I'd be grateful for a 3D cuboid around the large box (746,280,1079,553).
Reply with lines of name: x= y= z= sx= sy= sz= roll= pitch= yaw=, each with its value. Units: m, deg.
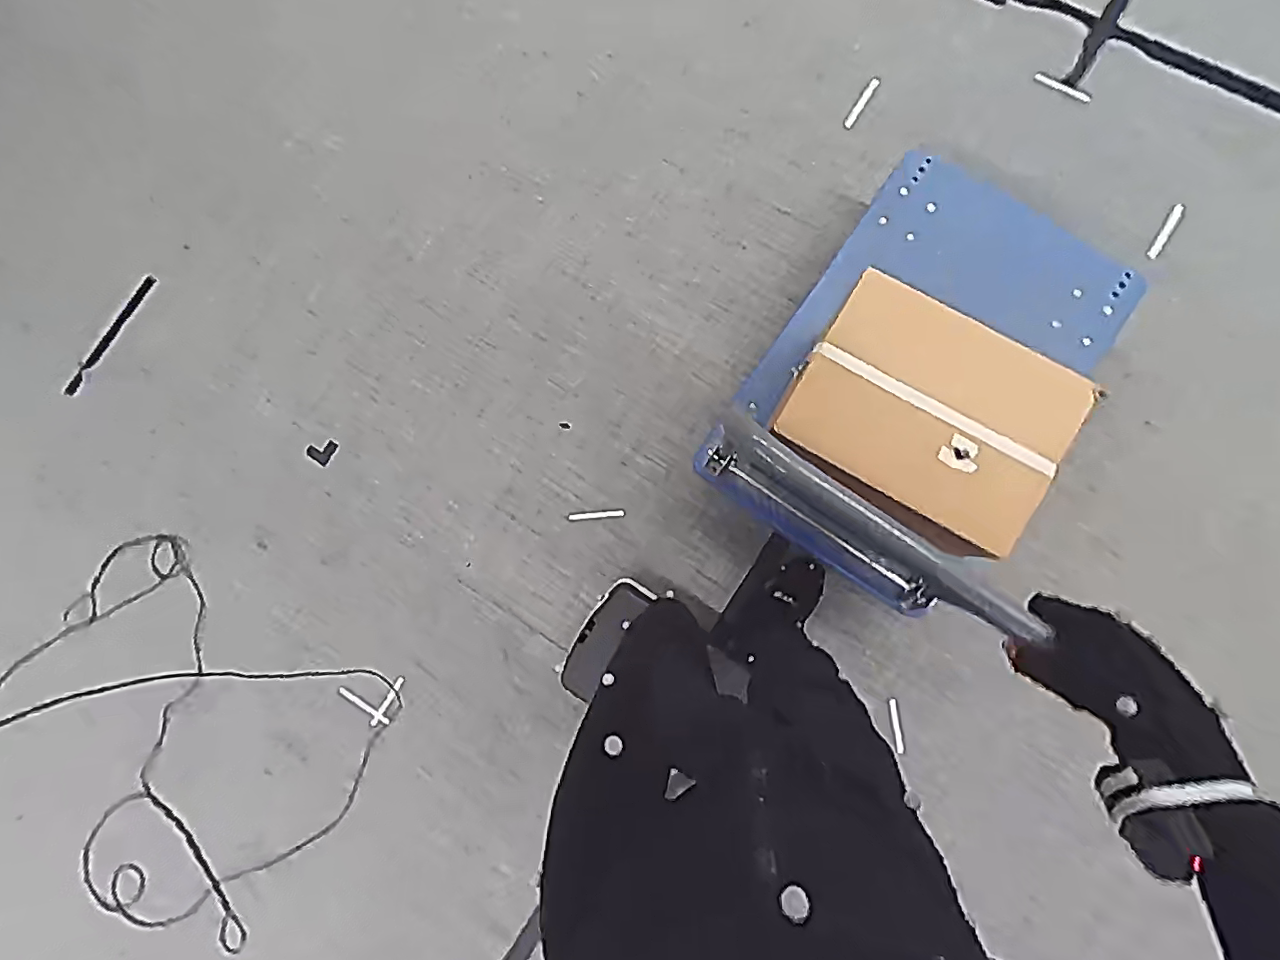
large box: x=0.464 y=-0.098 z=1.022 sx=0.408 sy=0.320 sz=0.320 roll=30 pitch=88 yaw=5
